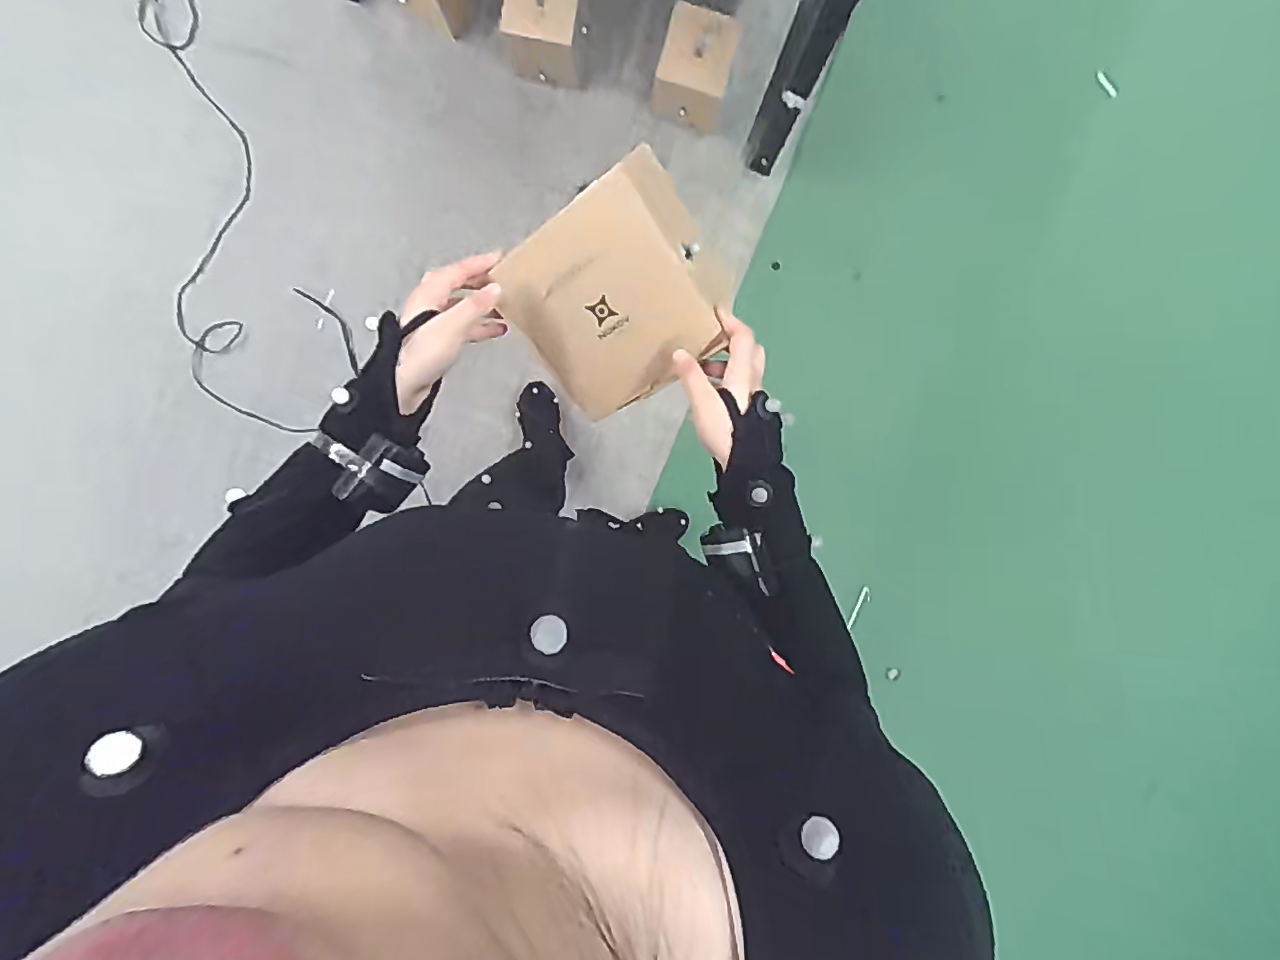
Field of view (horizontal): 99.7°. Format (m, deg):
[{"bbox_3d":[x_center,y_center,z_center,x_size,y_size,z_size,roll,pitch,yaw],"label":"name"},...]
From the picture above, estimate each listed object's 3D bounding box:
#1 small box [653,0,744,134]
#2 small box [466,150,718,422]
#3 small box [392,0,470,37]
[{"bbox_3d":[0.133,-0.980,1.302,0.168,0.176,0.179,17,95,-3],"label":"small box"},{"bbox_3d":[-0.031,-0.197,0.546,0.168,0.176,0.179,-28,117,26],"label":"small box"},{"bbox_3d":[-0.506,-1.212,1.275,0.168,0.176,0.179,26,94,-3],"label":"small box"}]
